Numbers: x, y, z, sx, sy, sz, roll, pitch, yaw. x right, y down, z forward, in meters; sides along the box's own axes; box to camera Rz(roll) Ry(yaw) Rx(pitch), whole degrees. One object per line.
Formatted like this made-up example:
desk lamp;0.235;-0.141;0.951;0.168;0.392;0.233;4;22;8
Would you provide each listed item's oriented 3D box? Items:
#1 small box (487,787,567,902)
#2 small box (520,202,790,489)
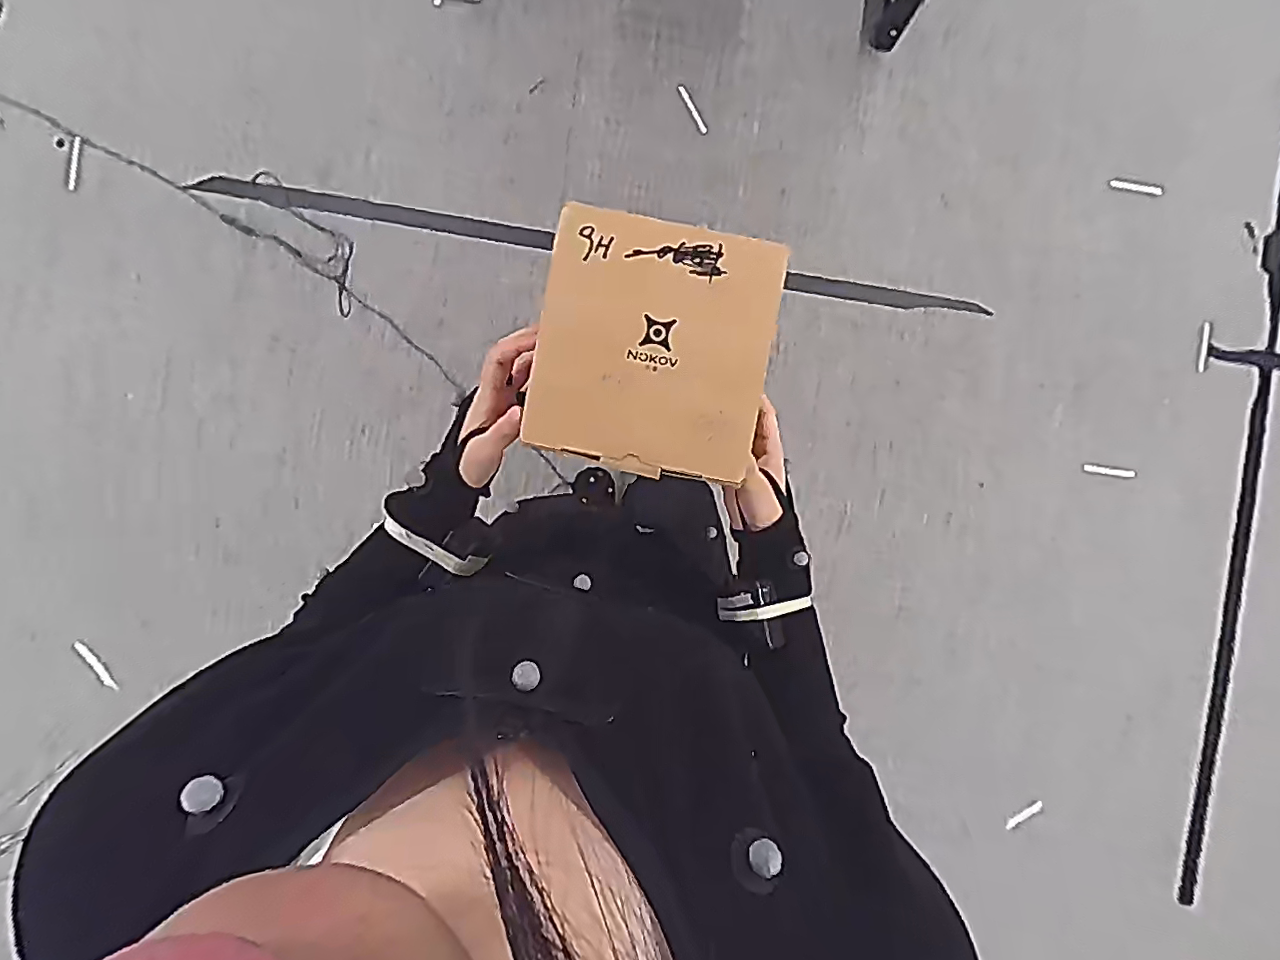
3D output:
small box;-0.288;0.949;1.417;0.168;0.176;0.179;10;90;-3
small box;0.009;-0.098;0.461;0.168;0.176;0.179;11;92;-2
